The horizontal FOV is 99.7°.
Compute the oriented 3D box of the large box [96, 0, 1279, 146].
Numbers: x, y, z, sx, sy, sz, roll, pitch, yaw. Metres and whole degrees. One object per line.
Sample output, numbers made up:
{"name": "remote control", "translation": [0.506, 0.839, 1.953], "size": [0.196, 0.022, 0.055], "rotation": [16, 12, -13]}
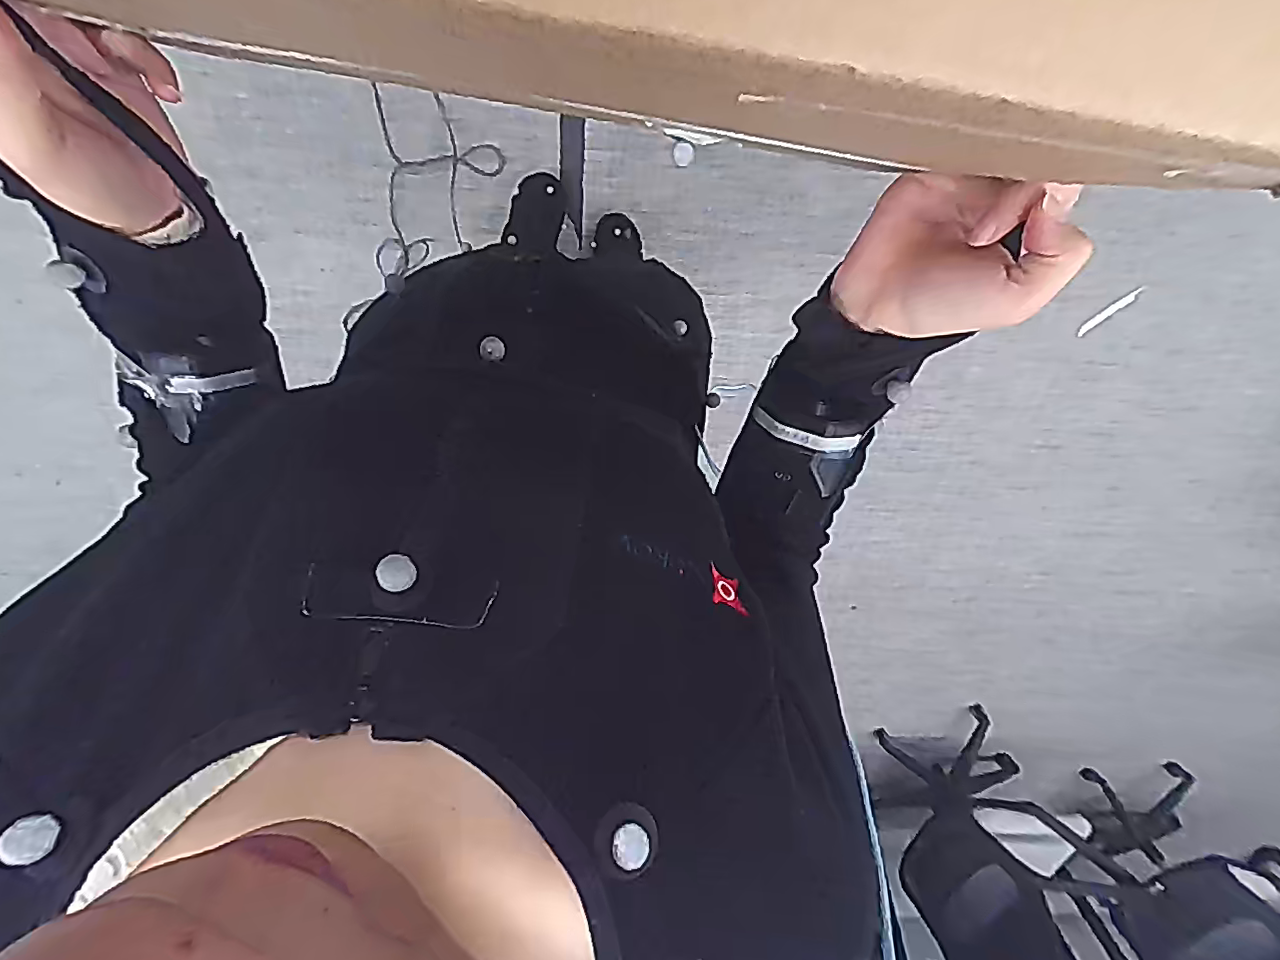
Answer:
{"name": "large box", "translation": [-0.018, -0.300, 0.137], "size": [0.408, 0.320, 0.320], "rotation": [6, 122, -5]}
